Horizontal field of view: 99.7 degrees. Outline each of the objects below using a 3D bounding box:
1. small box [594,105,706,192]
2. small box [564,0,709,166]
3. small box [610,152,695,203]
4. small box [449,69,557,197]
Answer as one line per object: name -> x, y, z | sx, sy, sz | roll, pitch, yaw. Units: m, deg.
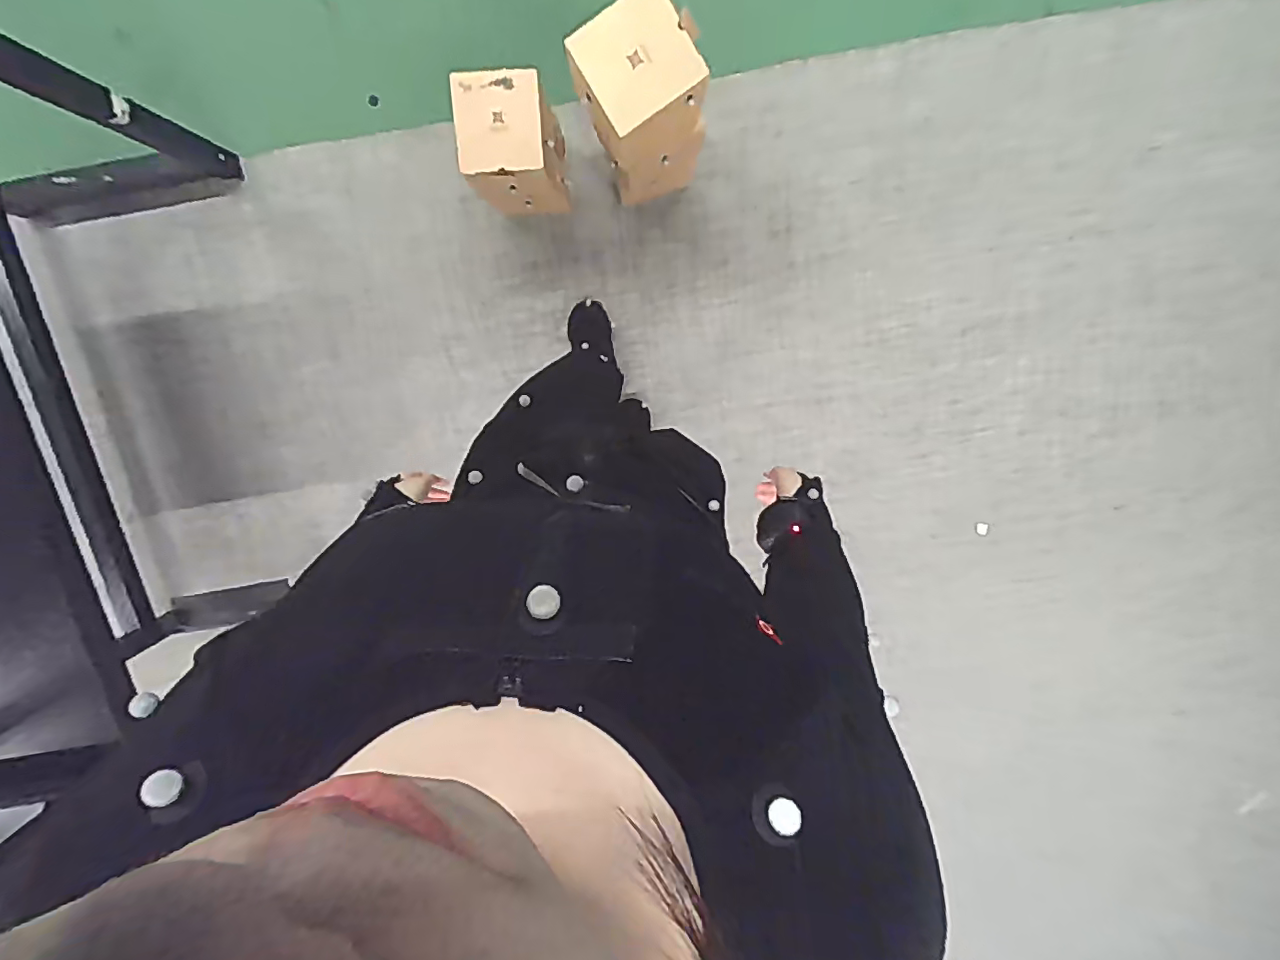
small box -> 0.012, -0.713, 1.081 | 0.179, 0.176, 0.168 | -28, 103, 5
small box -> -0.004, -0.679, 0.921 | 0.179, 0.176, 0.168 | -33, 102, 6
small box -> 0.018, -0.759, 1.237 | 0.179, 0.176, 0.168 | -16, 102, 3
small box -> -0.265, -0.682, 1.085 | 0.168, 0.176, 0.179 | -2, 103, 1
